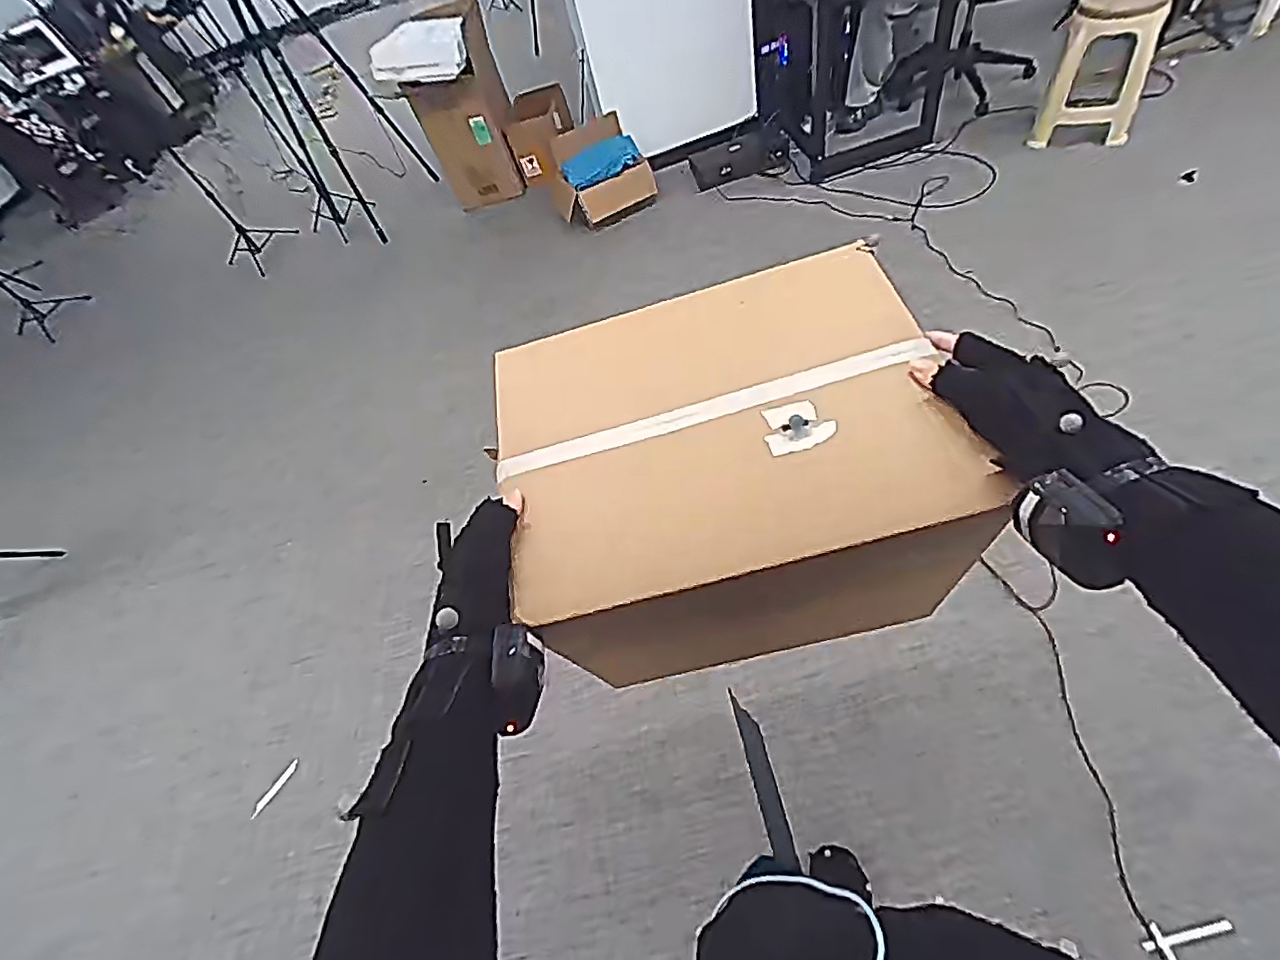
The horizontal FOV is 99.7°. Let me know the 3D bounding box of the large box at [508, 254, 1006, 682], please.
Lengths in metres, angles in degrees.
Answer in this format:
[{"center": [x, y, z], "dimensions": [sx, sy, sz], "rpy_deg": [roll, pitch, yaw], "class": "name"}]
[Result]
[{"center": [0.099, 0.012, 0.638], "dimensions": [0.408, 0.320, 0.320], "rpy_deg": [-16, 59, 5], "class": "large box"}]
